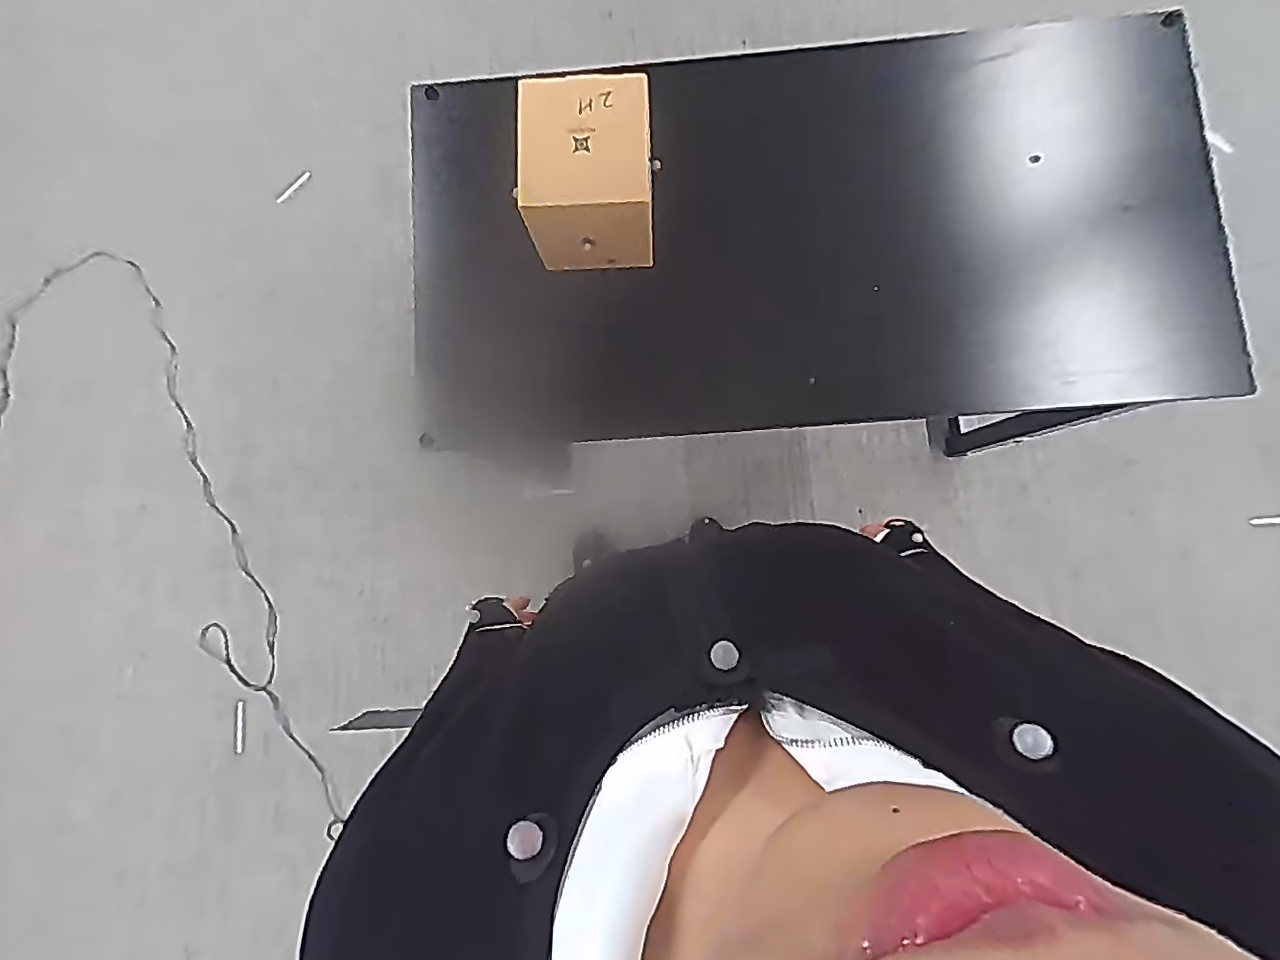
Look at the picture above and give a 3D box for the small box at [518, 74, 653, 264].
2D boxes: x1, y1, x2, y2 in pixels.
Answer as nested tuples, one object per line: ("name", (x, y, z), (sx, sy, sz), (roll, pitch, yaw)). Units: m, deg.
("small box", (-0.068, -0.420, 0.761), (0.168, 0.176, 0.179), (-1, 84, 3))
